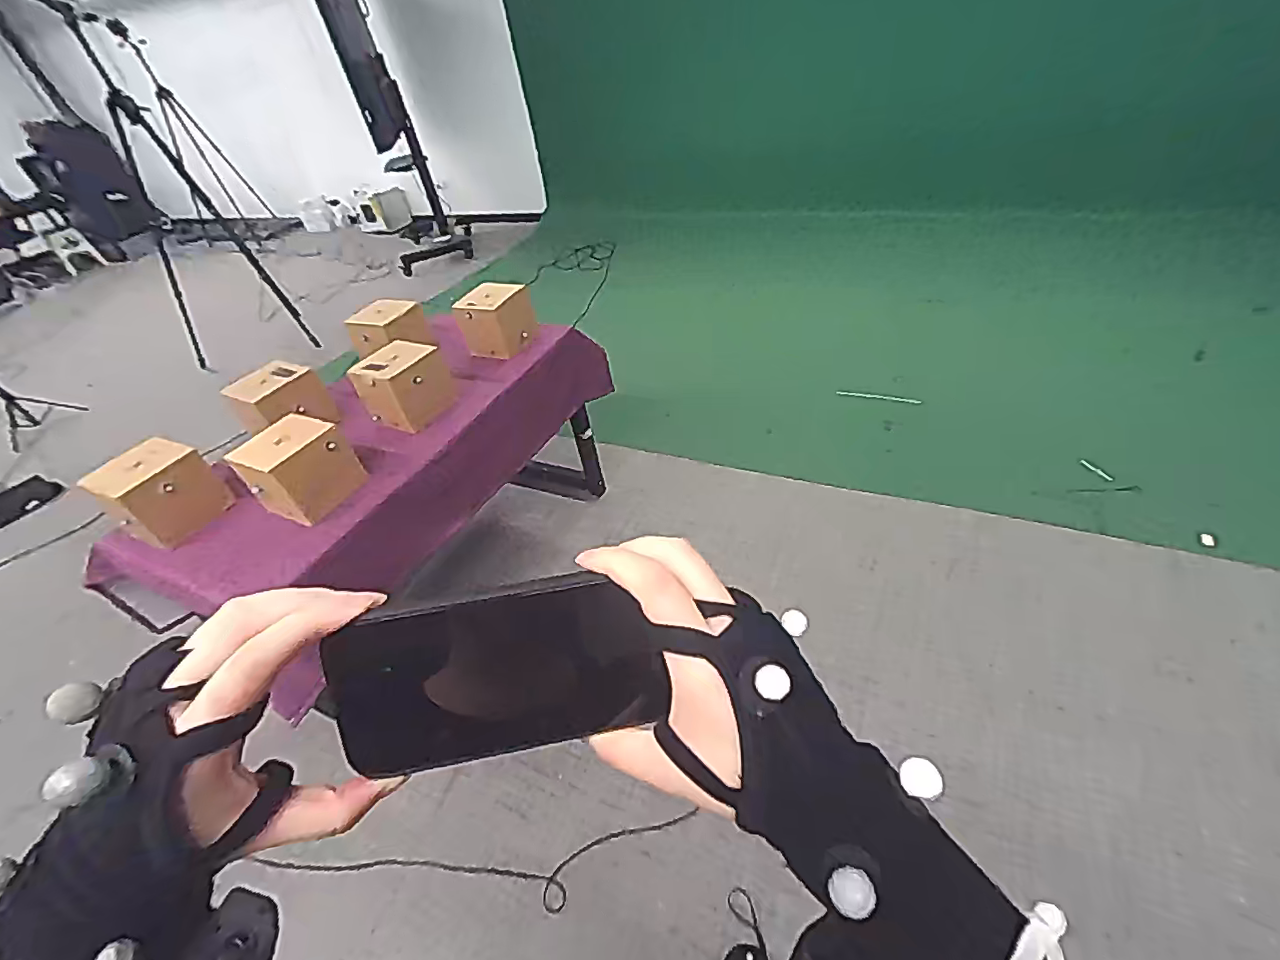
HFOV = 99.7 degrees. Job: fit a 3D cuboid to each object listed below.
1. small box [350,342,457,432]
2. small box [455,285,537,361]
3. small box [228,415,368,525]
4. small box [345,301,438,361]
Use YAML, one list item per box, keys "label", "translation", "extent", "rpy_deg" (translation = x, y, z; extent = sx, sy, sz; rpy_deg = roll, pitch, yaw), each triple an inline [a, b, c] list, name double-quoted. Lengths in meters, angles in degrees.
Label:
- label: "small box"
  translation: [-0.631, -0.251, 1.466]
  extent: [0.168, 0.176, 0.179]
  rpy_deg: [15, 46, 26]
- label: "small box"
  translation: [-0.444, -0.497, 1.705]
  extent: [0.168, 0.176, 0.179]
  rpy_deg: [11, 45, 24]
- label: "small box"
  translation: [-0.770, -0.022, 1.236]
  extent: [0.168, 0.176, 0.179]
  rpy_deg: [13, 45, 25]
- label: "small box"
  translation: [-0.787, -0.454, 1.727]
  extent: [0.179, 0.176, 0.168]
  rpy_deg: [11, 46, 22]
